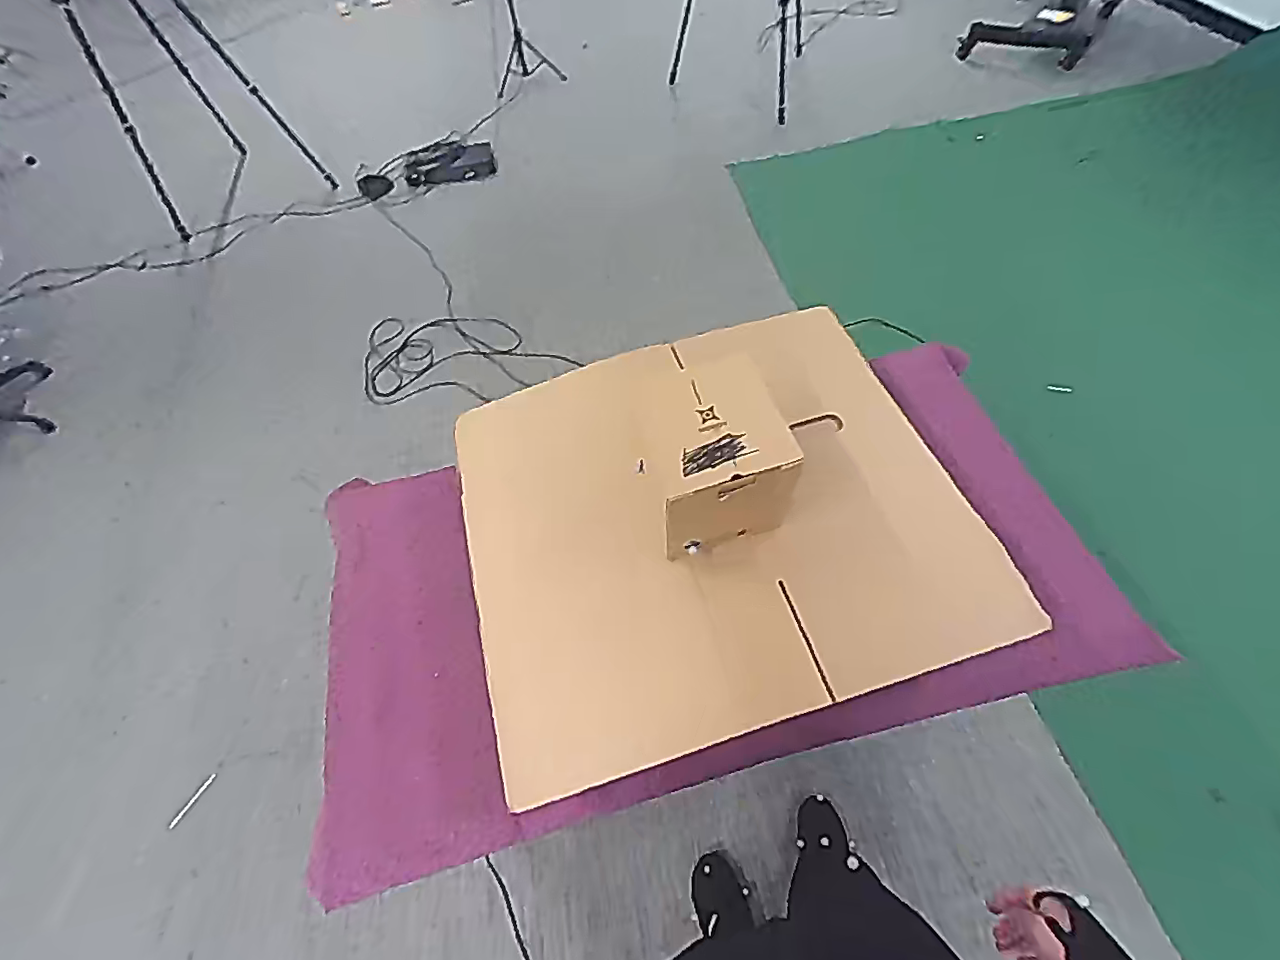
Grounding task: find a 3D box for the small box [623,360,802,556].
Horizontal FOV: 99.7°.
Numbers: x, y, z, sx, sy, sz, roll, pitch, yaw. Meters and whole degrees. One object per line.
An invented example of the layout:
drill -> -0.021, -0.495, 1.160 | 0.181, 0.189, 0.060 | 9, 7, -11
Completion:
small box -> 0.084, -0.019, 0.697 | 0.168, 0.176, 0.179 | -15, 58, -7
